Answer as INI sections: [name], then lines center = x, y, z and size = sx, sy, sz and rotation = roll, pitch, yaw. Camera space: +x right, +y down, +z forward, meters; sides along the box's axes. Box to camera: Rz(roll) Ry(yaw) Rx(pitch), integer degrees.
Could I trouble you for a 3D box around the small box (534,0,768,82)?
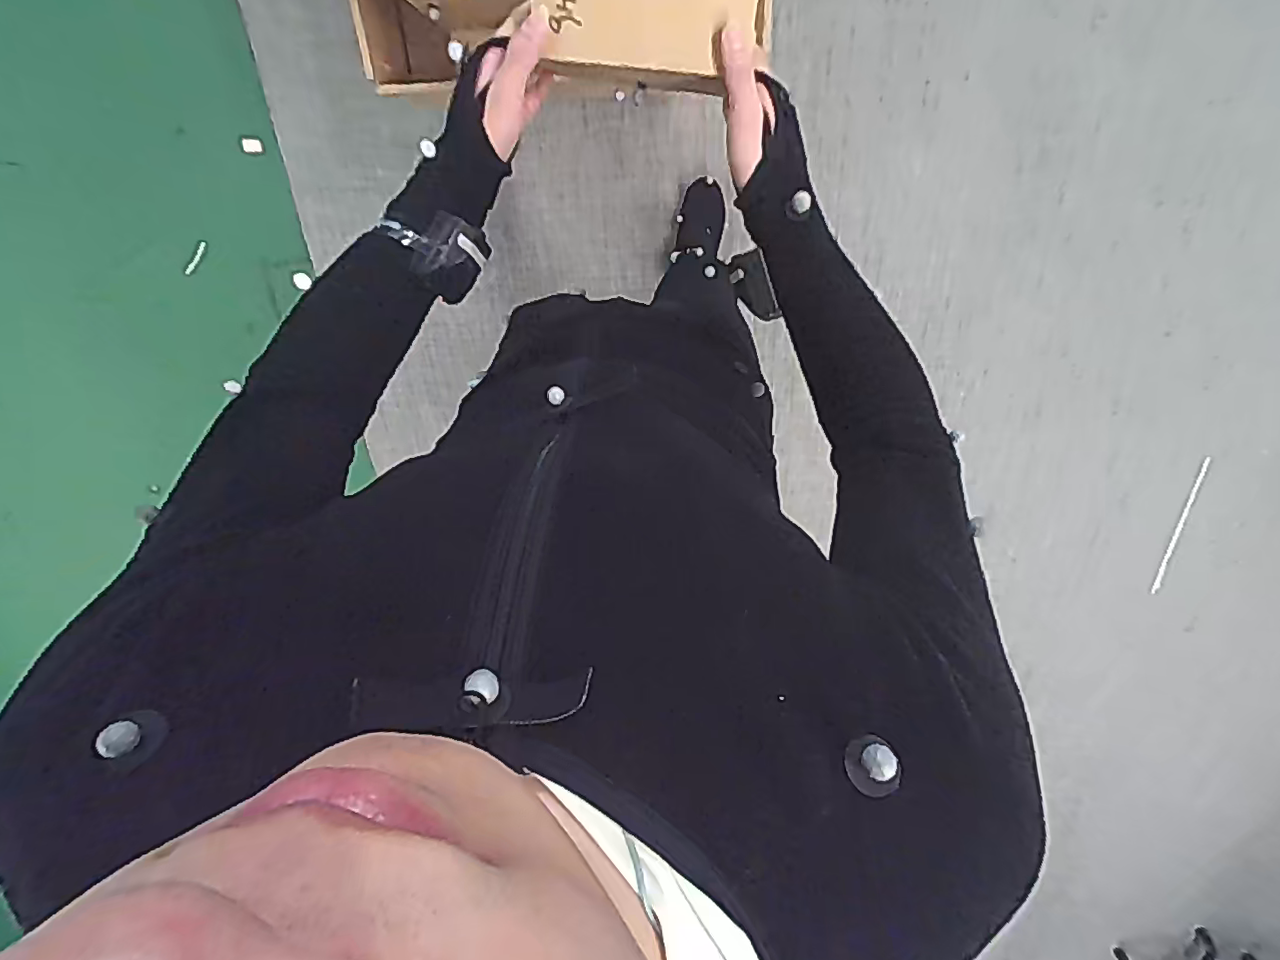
[small box]
center = 0.011, -0.439, 0.441
size = 0.179, 0.176, 0.168
rotation = 4, 122, -3
